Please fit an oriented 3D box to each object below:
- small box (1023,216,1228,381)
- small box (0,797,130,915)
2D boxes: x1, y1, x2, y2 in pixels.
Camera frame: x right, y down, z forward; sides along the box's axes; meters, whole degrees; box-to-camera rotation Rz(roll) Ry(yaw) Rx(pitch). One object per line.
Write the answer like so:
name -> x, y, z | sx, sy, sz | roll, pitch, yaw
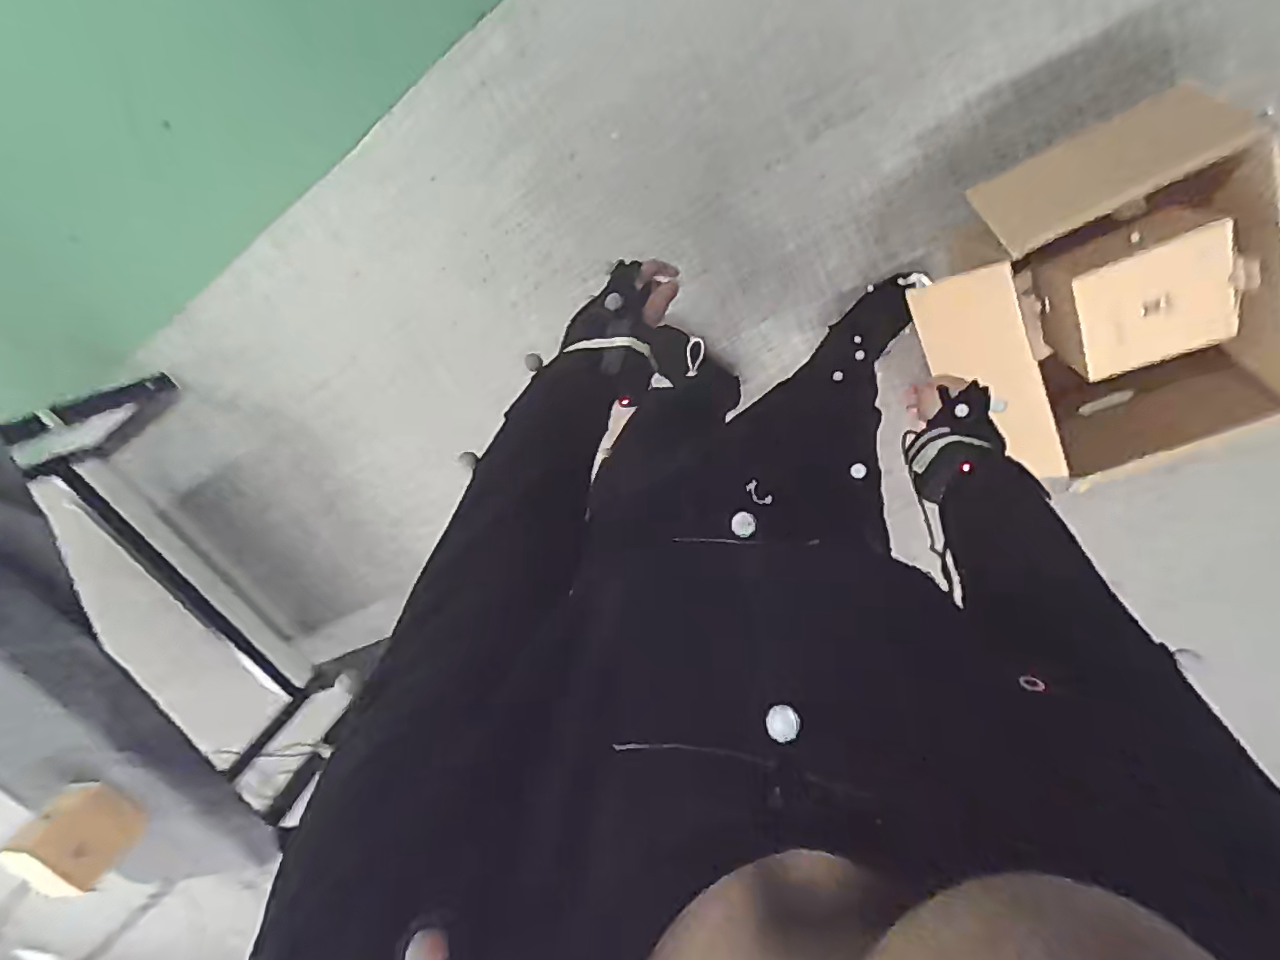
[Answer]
small box -> 0.729, -0.282, 0.827 | 0.179, 0.176, 0.168 | -19, 114, 23
small box -> -1.348, 0.851, 1.234 | 0.168, 0.176, 0.179 | -16, 113, 19
